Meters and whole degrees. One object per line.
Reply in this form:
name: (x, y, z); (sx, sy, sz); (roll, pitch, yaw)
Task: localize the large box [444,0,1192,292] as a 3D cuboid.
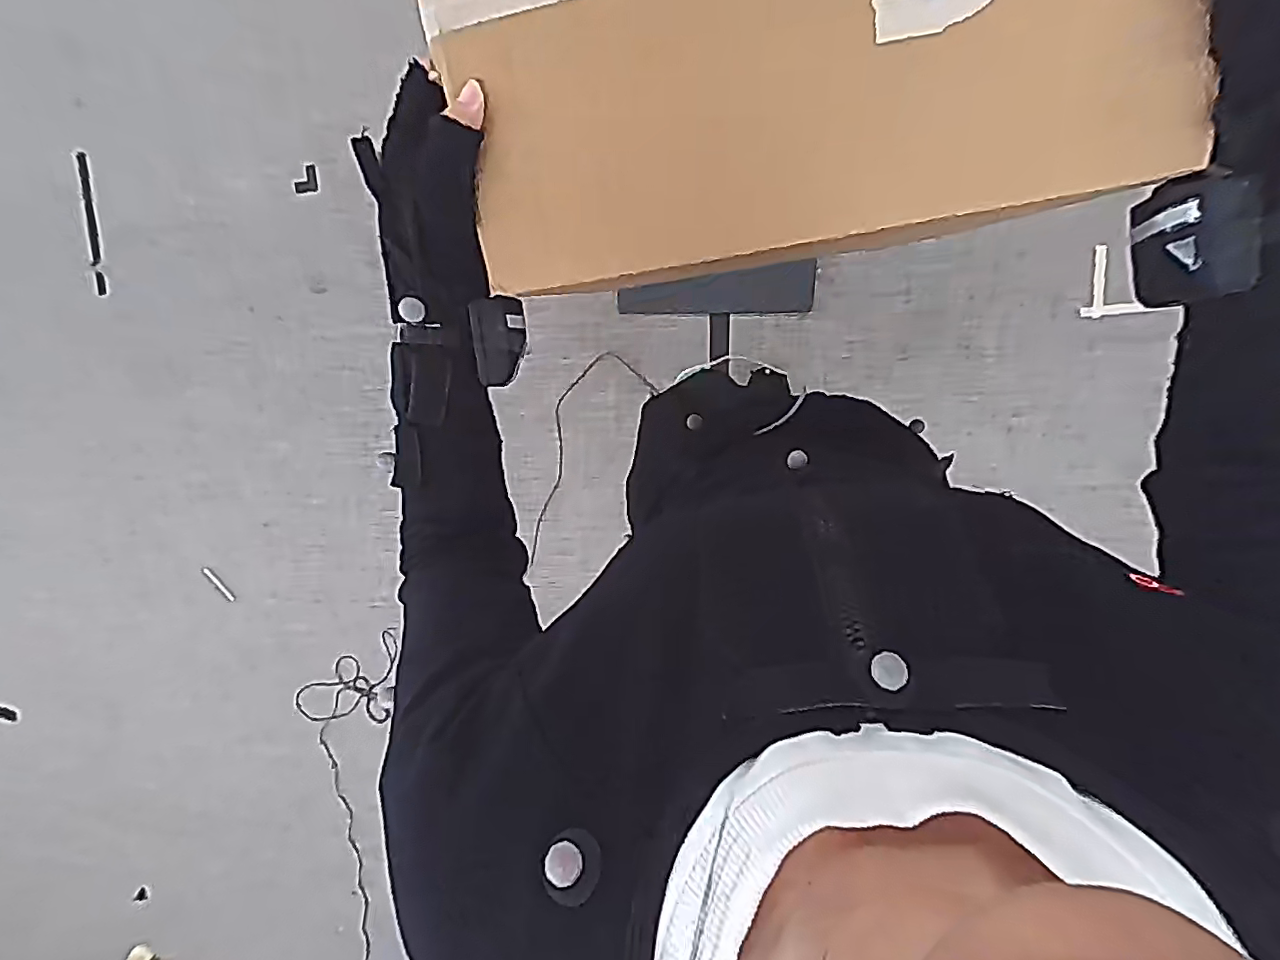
large box: (0.095, -0.346, 0.430); (0.408, 0.320, 0.320); (-7, 109, 10)

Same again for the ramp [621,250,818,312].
ramp: (0.182, -0.901, 1.215); (0.509, 0.206, 0.991); (0, 100, 8)
